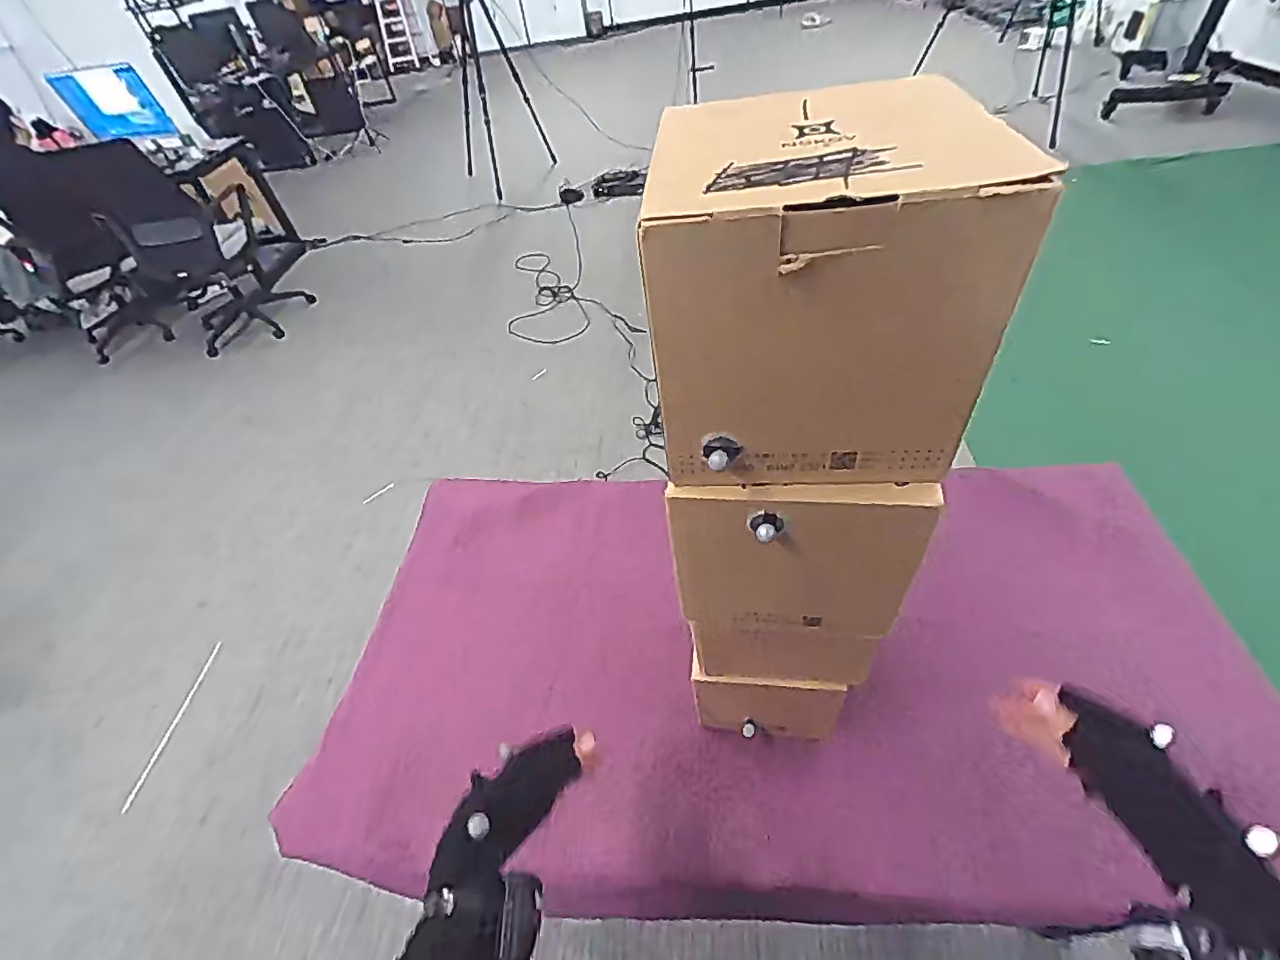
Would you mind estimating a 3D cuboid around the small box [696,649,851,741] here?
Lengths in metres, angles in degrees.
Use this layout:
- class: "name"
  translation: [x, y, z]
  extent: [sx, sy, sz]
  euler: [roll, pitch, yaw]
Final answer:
- class: "small box"
  translation: [0.164, 0.208, 0.690]
  extent: [0.168, 0.176, 0.179]
  euler: [0, 49, 12]

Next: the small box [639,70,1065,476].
- class: "small box"
  translation: [0.099, -0.115, 0.327]
  extent: [0.168, 0.176, 0.179]
  euler: [-1, 47, 9]

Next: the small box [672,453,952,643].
- class: "small box"
  translation: [0.123, 0.007, 0.437]
  extent: [0.168, 0.176, 0.179]
  euler: [1, 47, 12]

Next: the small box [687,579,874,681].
- class: "small box"
  translation: [0.148, 0.099, 0.572]
  extent: [0.179, 0.176, 0.168]
  euler: [-1, 48, 10]
